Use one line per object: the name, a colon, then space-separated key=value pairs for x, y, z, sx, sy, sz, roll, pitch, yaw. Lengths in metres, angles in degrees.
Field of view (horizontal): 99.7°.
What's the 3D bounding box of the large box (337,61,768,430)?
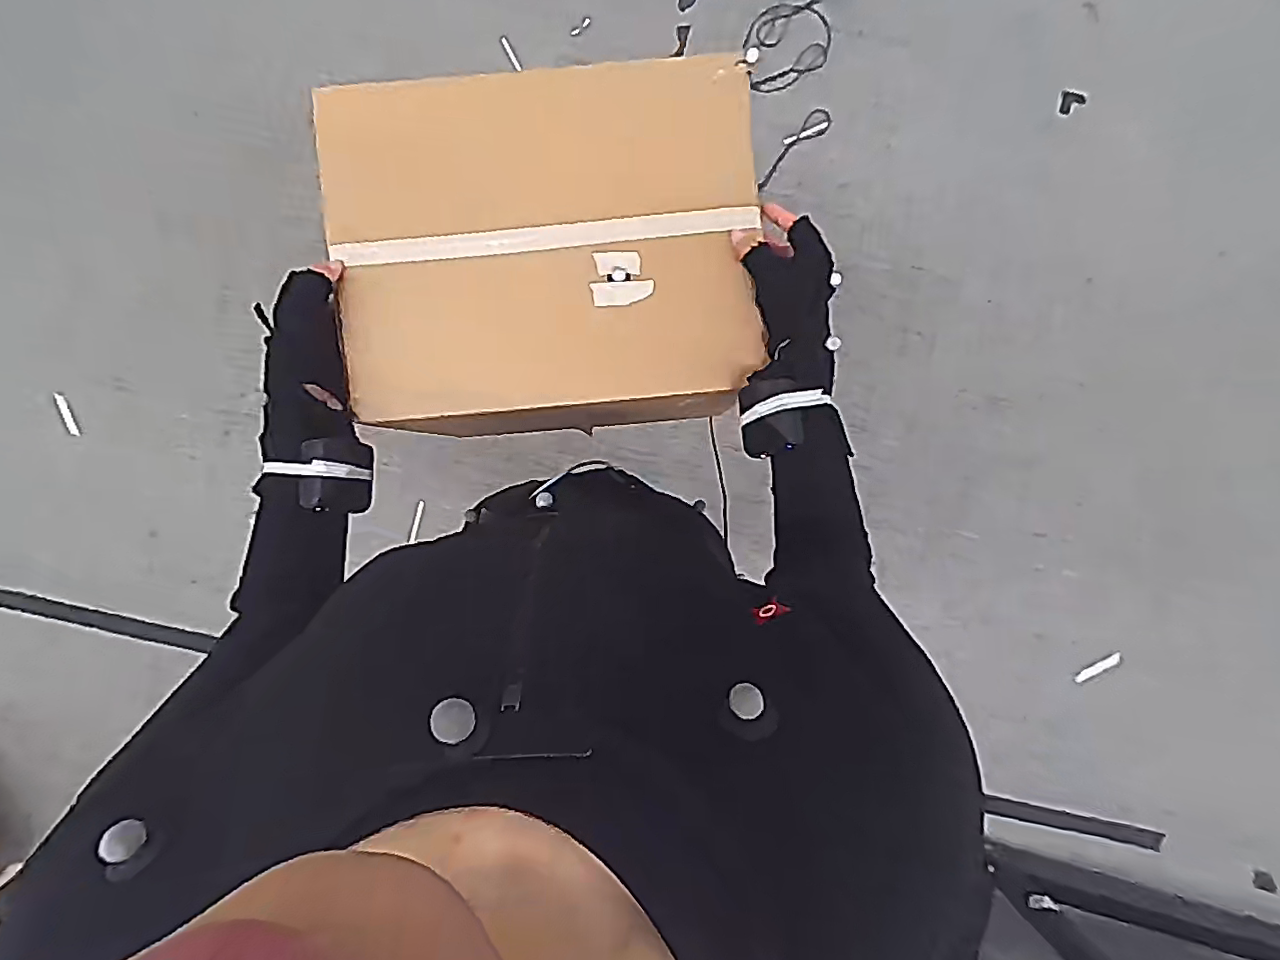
large box: x=-0.087 y=-0.241 z=0.674 sx=0.408 sy=0.320 sz=0.320 roll=-4 pitch=93 yaw=-1
